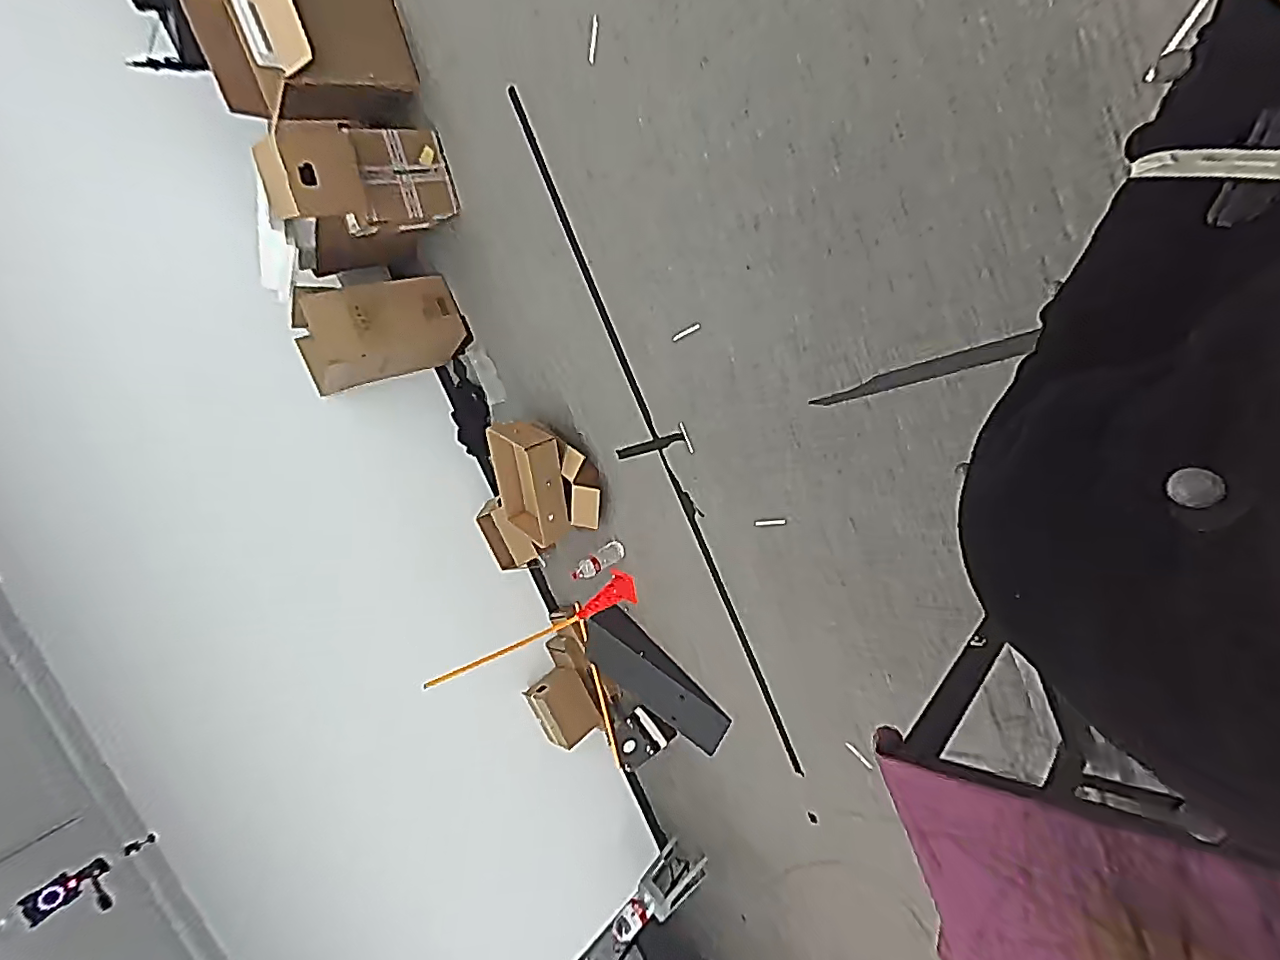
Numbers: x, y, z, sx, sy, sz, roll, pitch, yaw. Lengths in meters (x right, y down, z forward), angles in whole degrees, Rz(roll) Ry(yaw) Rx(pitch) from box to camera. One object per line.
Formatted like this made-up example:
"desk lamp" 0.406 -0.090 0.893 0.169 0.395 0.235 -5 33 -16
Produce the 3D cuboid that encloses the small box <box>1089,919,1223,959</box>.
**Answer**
"small box" 0.770 0.790 0.774 0.179 0.176 0.168 -15 102 54
